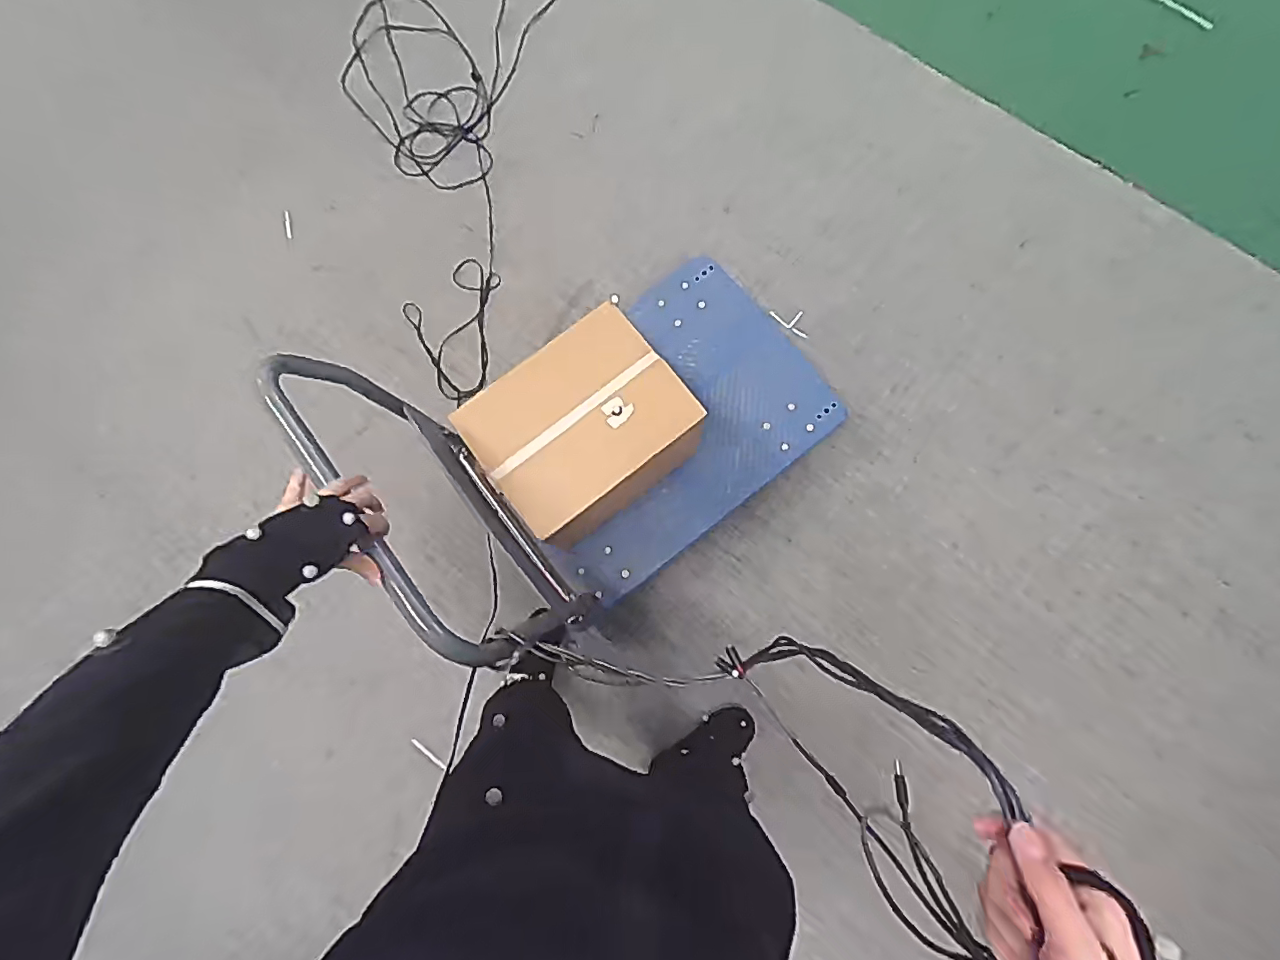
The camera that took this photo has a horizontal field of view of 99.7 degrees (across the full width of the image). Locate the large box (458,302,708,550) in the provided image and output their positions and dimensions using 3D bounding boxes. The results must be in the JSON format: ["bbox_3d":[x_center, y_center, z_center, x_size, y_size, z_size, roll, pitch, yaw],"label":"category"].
[{"bbox_3d":[-0.110,-0.095,1.195,0.408,0.320,0.320,-38,81,-6],"label":"large box"}]
